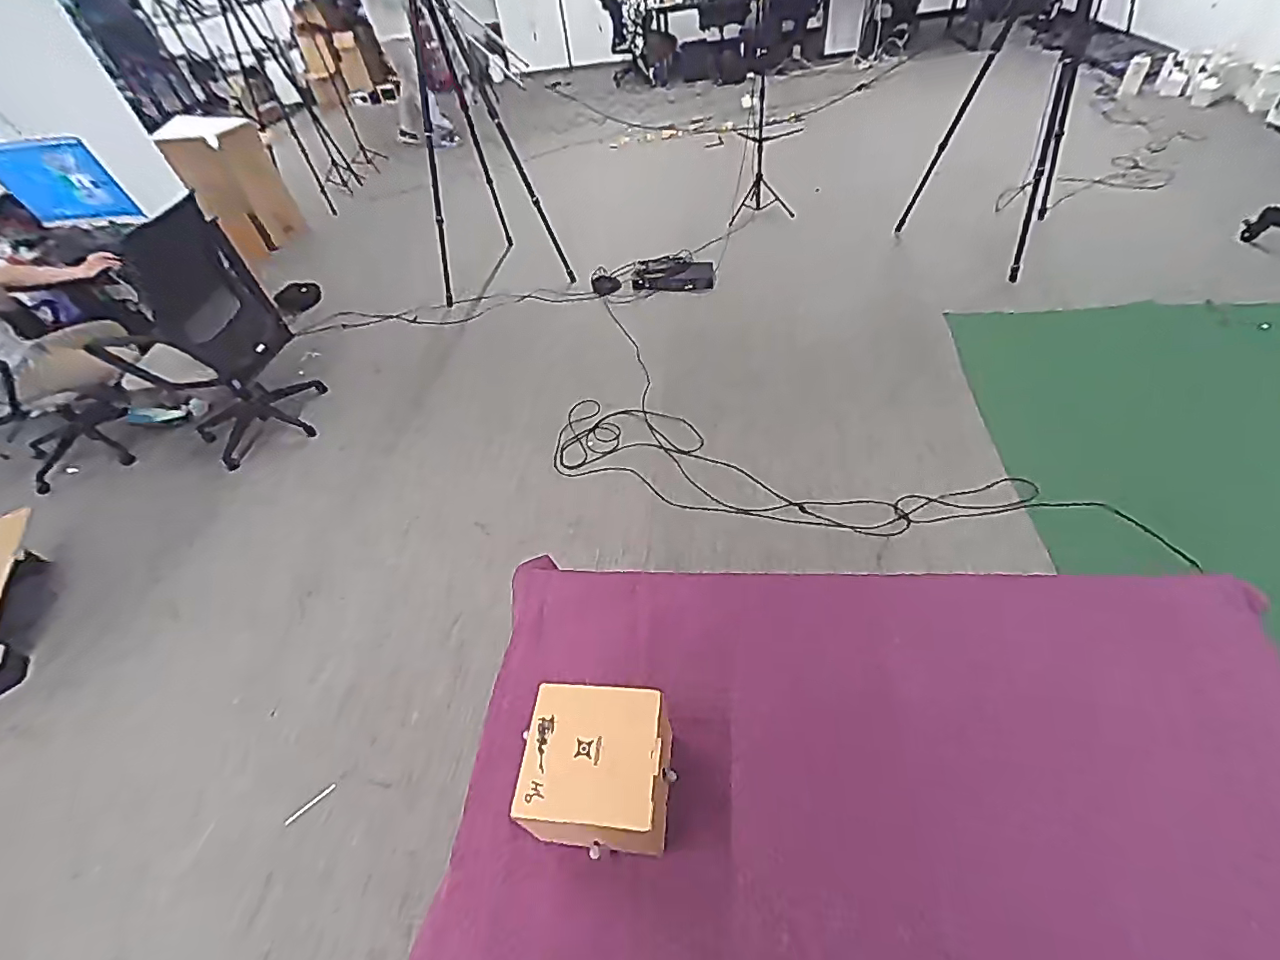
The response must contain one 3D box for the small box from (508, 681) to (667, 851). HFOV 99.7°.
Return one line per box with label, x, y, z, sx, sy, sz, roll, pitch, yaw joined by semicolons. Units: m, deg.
small box;-0.056;0.396;0.745;0.179;0.176;0.168;1;48;9
